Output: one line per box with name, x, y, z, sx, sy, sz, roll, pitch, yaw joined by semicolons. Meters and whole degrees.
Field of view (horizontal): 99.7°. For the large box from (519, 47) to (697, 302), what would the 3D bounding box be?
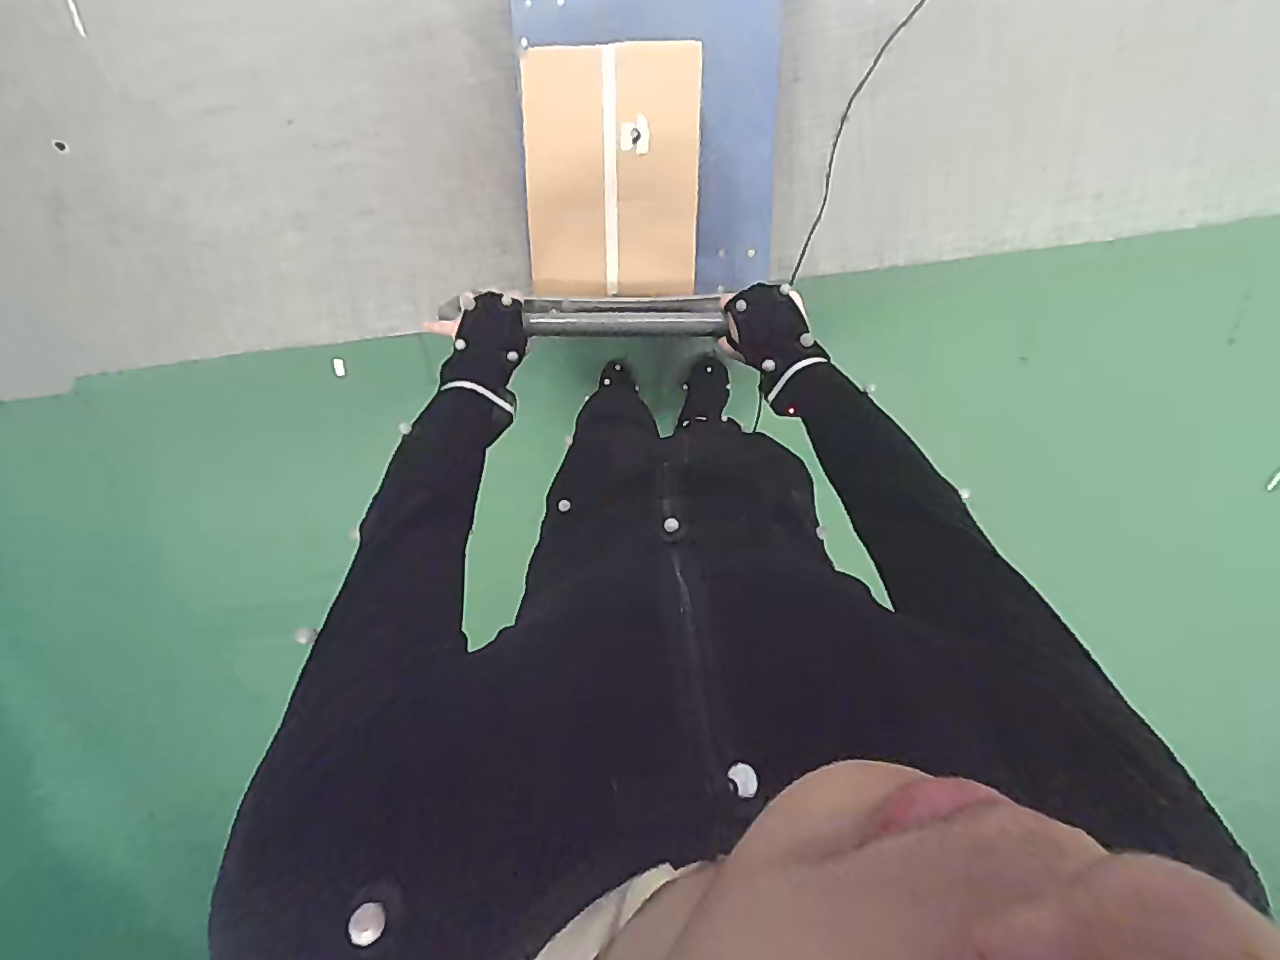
large box;-0.041;-0.585;1.120;0.320;0.320;0.408;2;108;4
